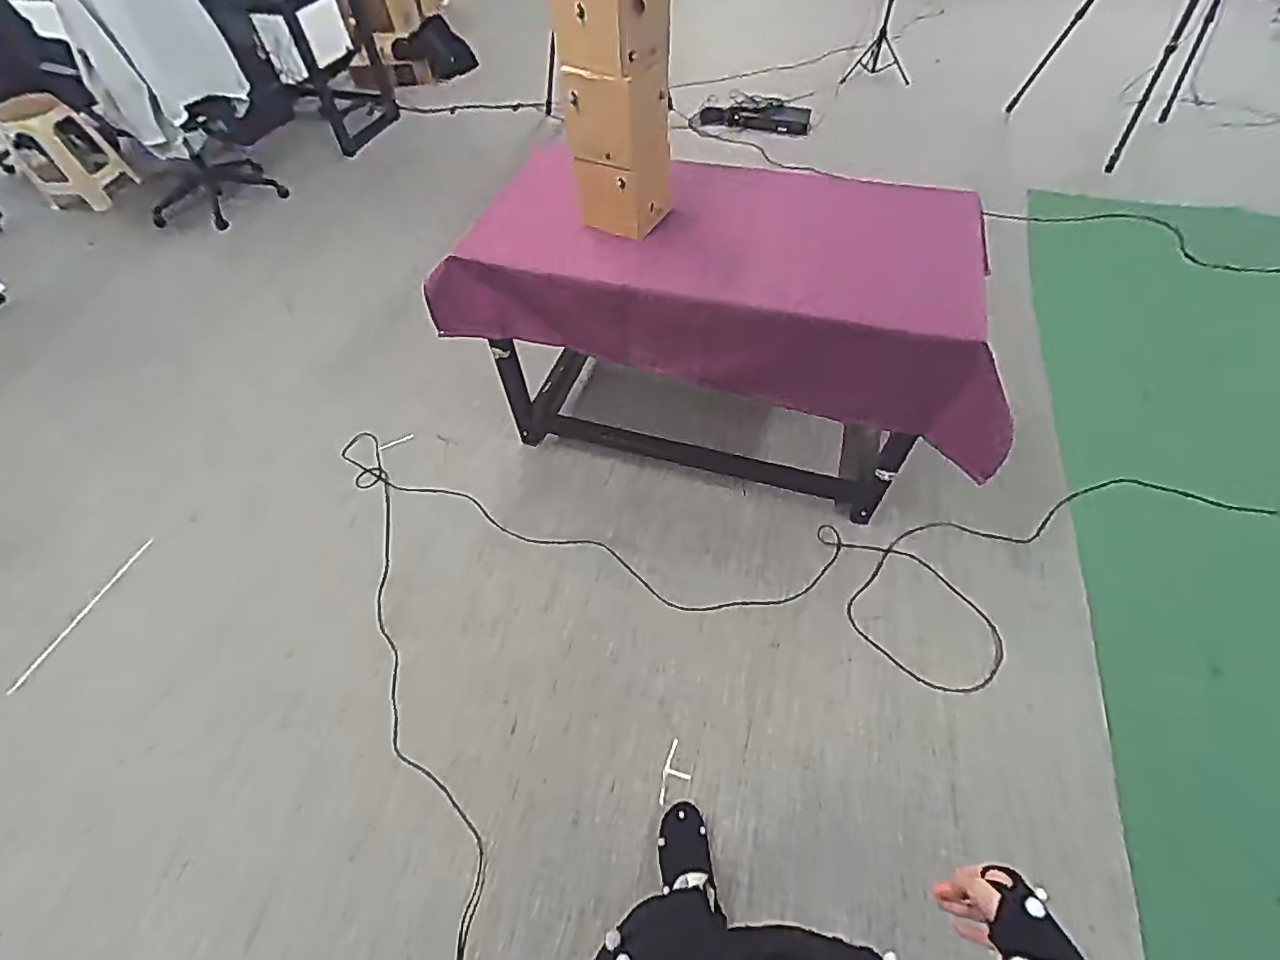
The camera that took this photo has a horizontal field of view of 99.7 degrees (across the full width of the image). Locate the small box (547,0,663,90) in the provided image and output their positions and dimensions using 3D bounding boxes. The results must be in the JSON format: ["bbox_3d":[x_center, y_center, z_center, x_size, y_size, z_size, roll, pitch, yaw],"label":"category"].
[{"bbox_3d":[-0.063,-0.919,1.093,0.179,0.176,0.168,30,59,23],"label":"small box"}]

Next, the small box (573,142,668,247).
[{"bbox_3d":[-0.043,-0.708,1.346,0.179,0.176,0.168,23,58,18],"label":"small box"}]
